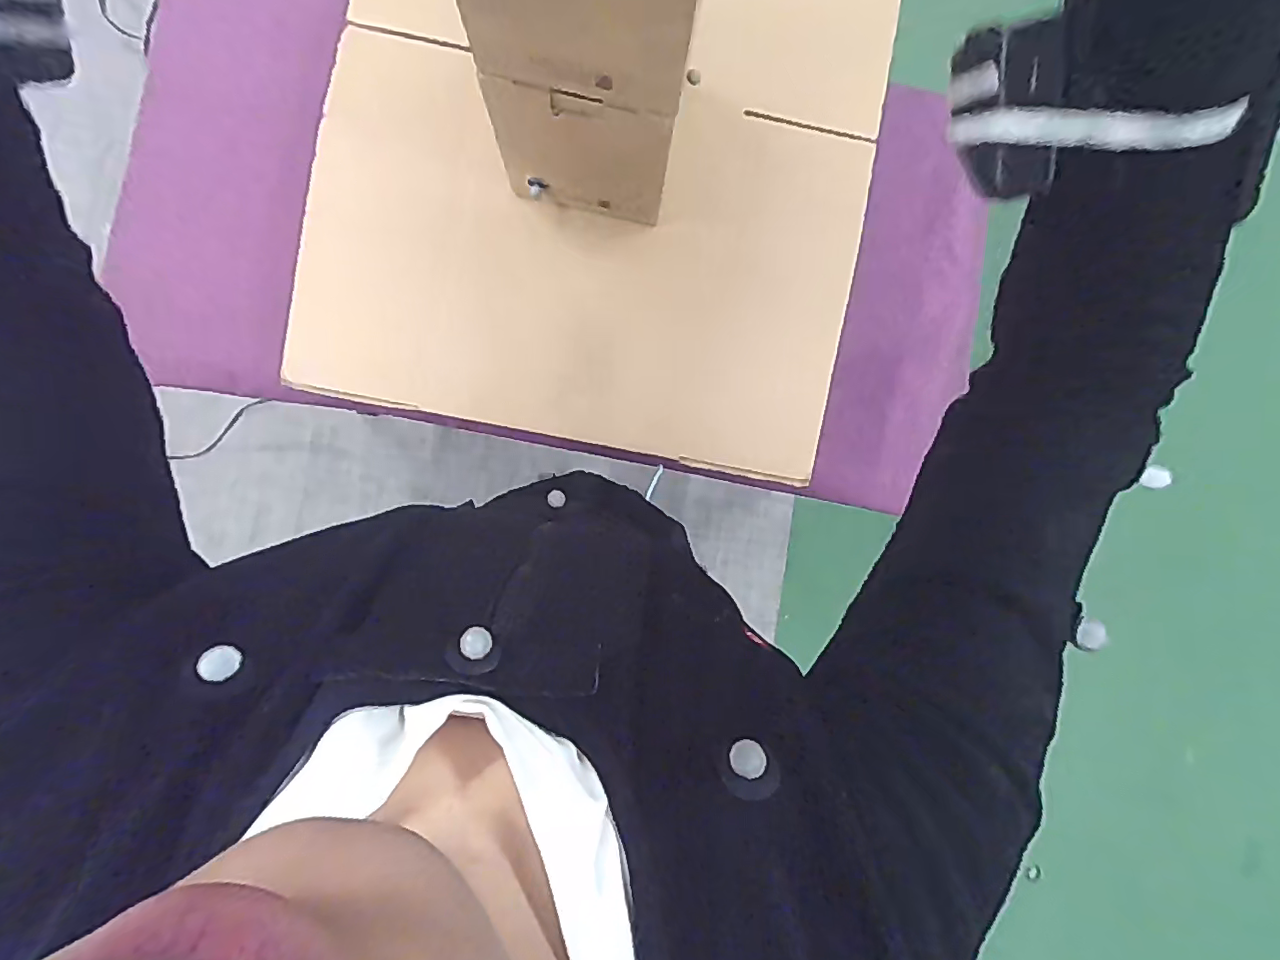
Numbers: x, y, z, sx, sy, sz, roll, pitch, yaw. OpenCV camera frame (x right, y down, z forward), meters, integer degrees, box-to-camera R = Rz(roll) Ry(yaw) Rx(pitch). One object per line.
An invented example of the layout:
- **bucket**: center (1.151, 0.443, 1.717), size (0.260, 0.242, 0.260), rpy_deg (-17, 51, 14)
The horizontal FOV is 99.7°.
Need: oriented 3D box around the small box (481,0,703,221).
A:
- **small box**: center (-0.037, -0.386, 0.524), size (0.168, 0.176, 0.179), rpy_deg (12, 86, -3)
